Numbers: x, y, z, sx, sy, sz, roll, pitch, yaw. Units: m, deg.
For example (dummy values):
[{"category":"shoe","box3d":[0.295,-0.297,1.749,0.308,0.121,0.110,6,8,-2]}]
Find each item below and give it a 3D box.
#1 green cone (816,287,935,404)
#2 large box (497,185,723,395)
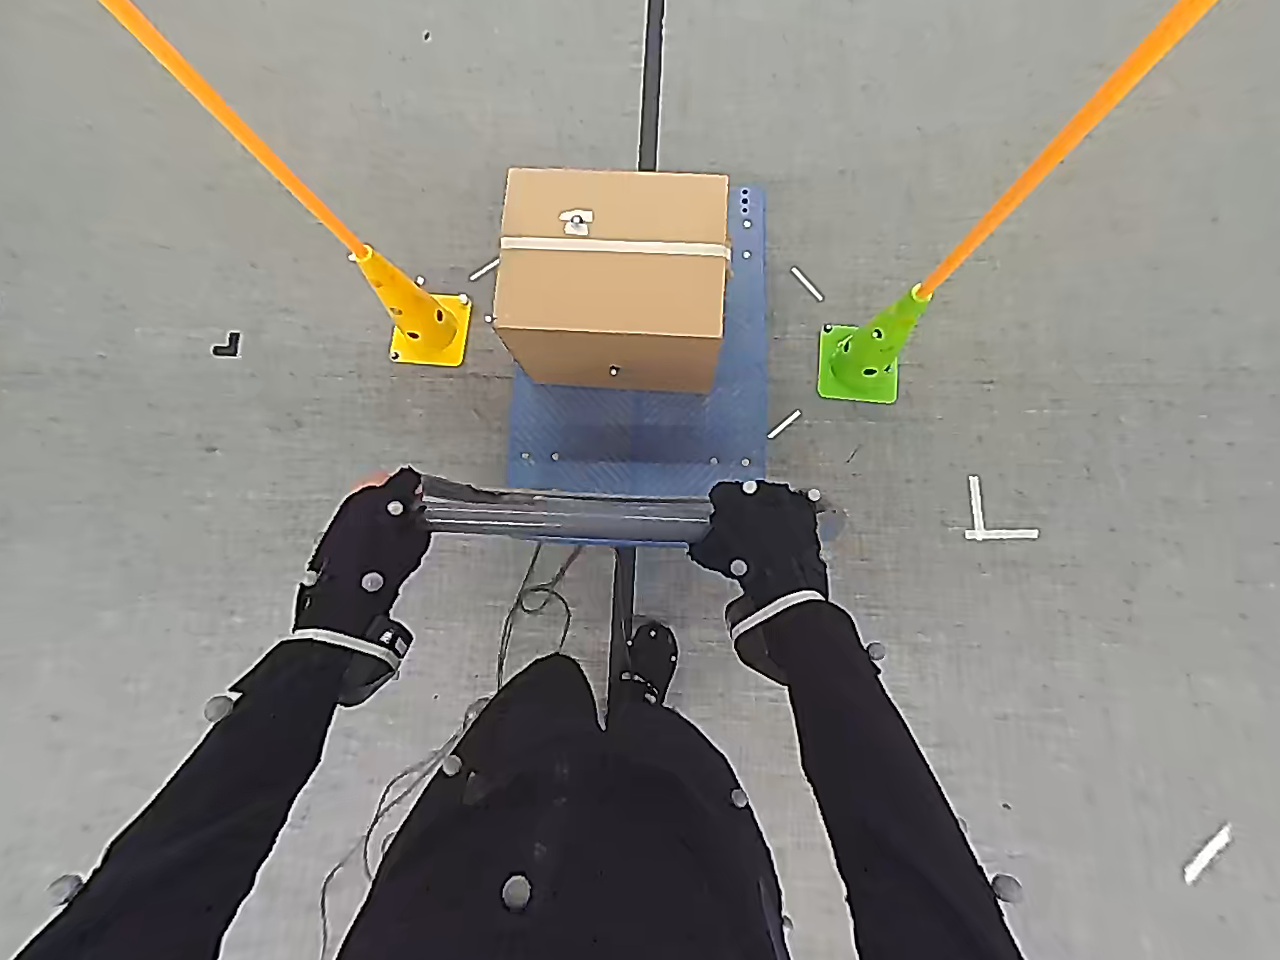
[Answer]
[{"category":"green cone","box3d":[0.559,-0.329,1.237,0.202,0.368,0.200,6,81,2]},{"category":"large box","box3d":[-0.043,-0.372,1.125,0.408,0.320,0.320,4,81,4]}]
